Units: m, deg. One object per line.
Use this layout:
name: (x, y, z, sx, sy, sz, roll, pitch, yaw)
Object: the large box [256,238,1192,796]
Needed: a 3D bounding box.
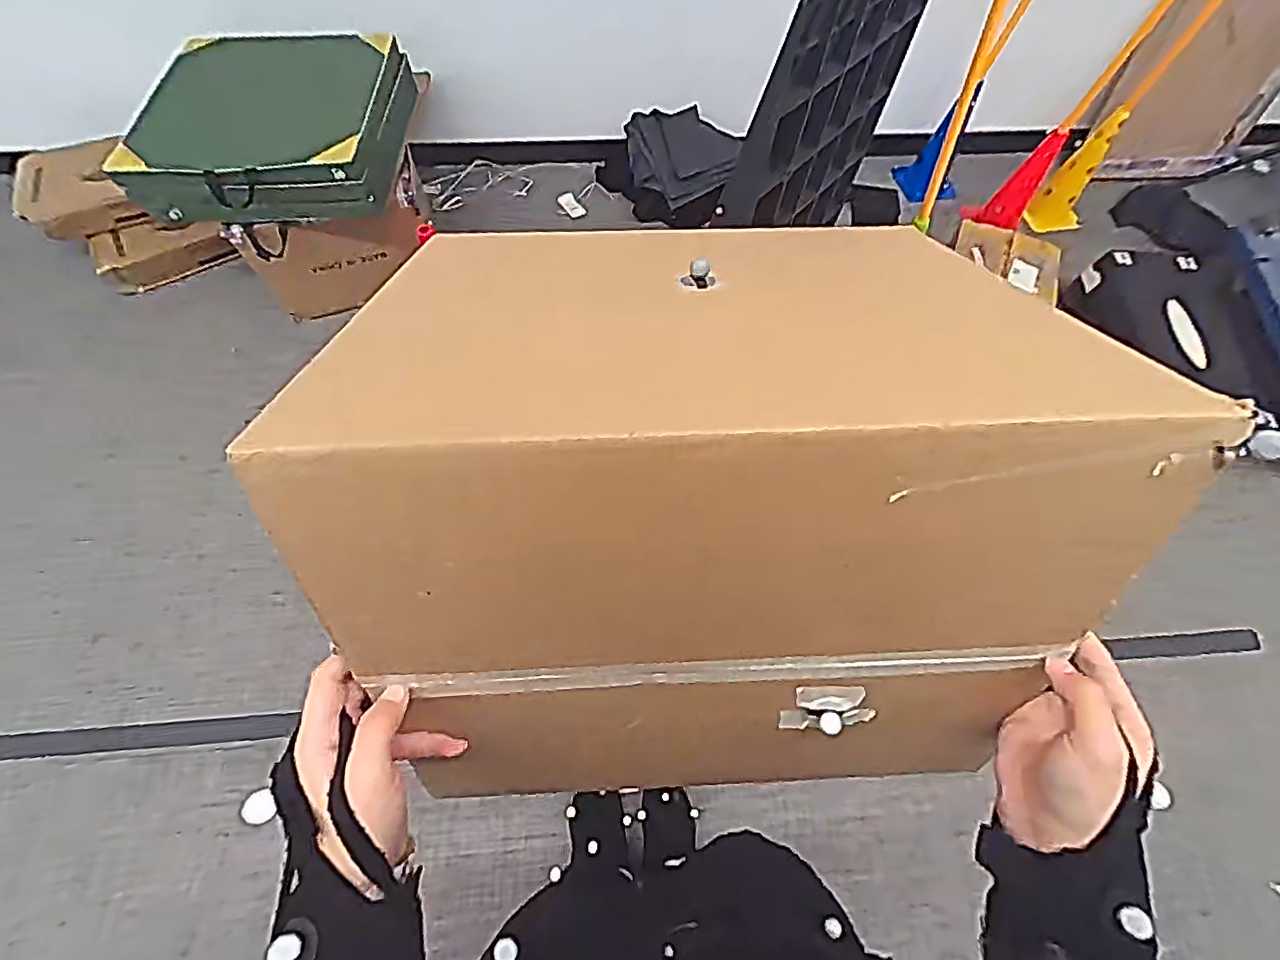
large box: (0.032, 0.012, 0.432, 0.408, 0.320, 0.320, -3, 39, -2)
